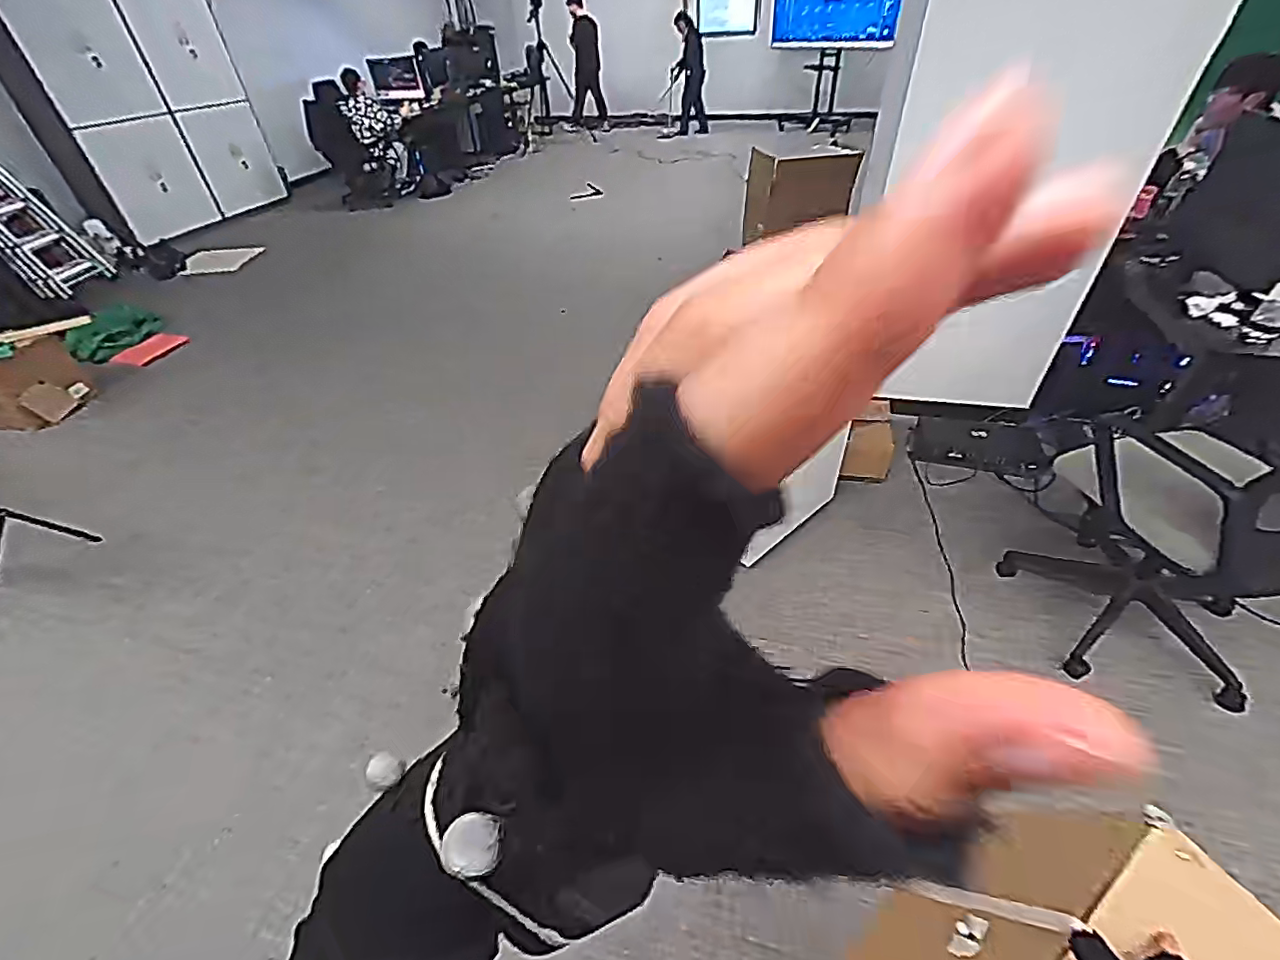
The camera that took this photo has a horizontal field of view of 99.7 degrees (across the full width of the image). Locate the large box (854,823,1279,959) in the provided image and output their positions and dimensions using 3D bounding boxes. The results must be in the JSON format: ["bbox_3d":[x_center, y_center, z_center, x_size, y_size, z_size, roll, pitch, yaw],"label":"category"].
[{"bbox_3d":[0.508,0.630,0.596,0.320,0.408,0.320,-34,63,-17],"label":"large box"}]
